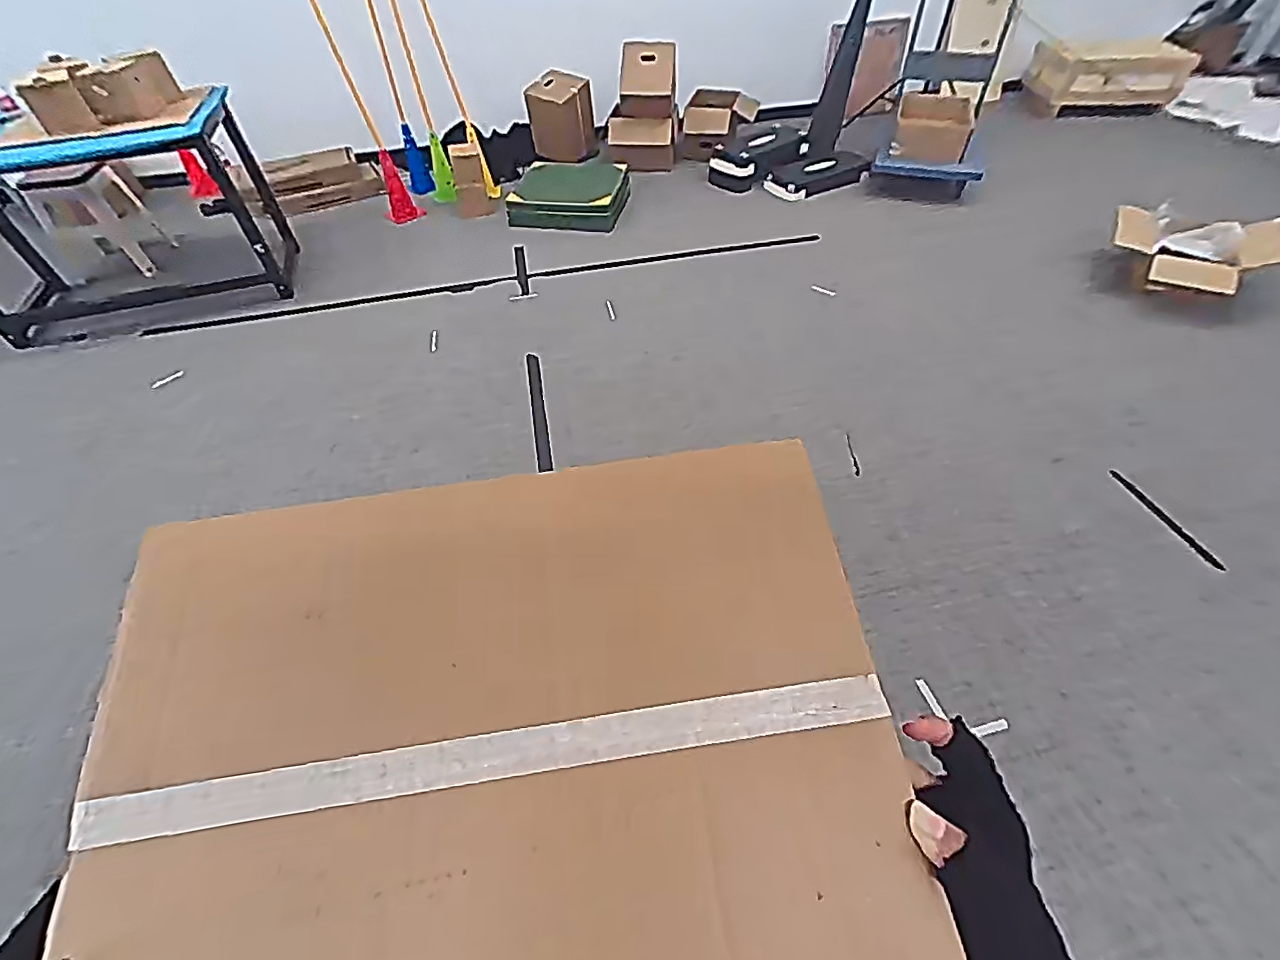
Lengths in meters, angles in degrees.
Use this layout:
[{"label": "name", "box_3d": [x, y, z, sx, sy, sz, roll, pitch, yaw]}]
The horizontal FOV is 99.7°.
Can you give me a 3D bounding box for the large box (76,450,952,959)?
[{"label": "large box", "box_3d": [-0.070, 0.208, 0.418, 0.408, 0.320, 0.320, -8, 66, -2]}]
